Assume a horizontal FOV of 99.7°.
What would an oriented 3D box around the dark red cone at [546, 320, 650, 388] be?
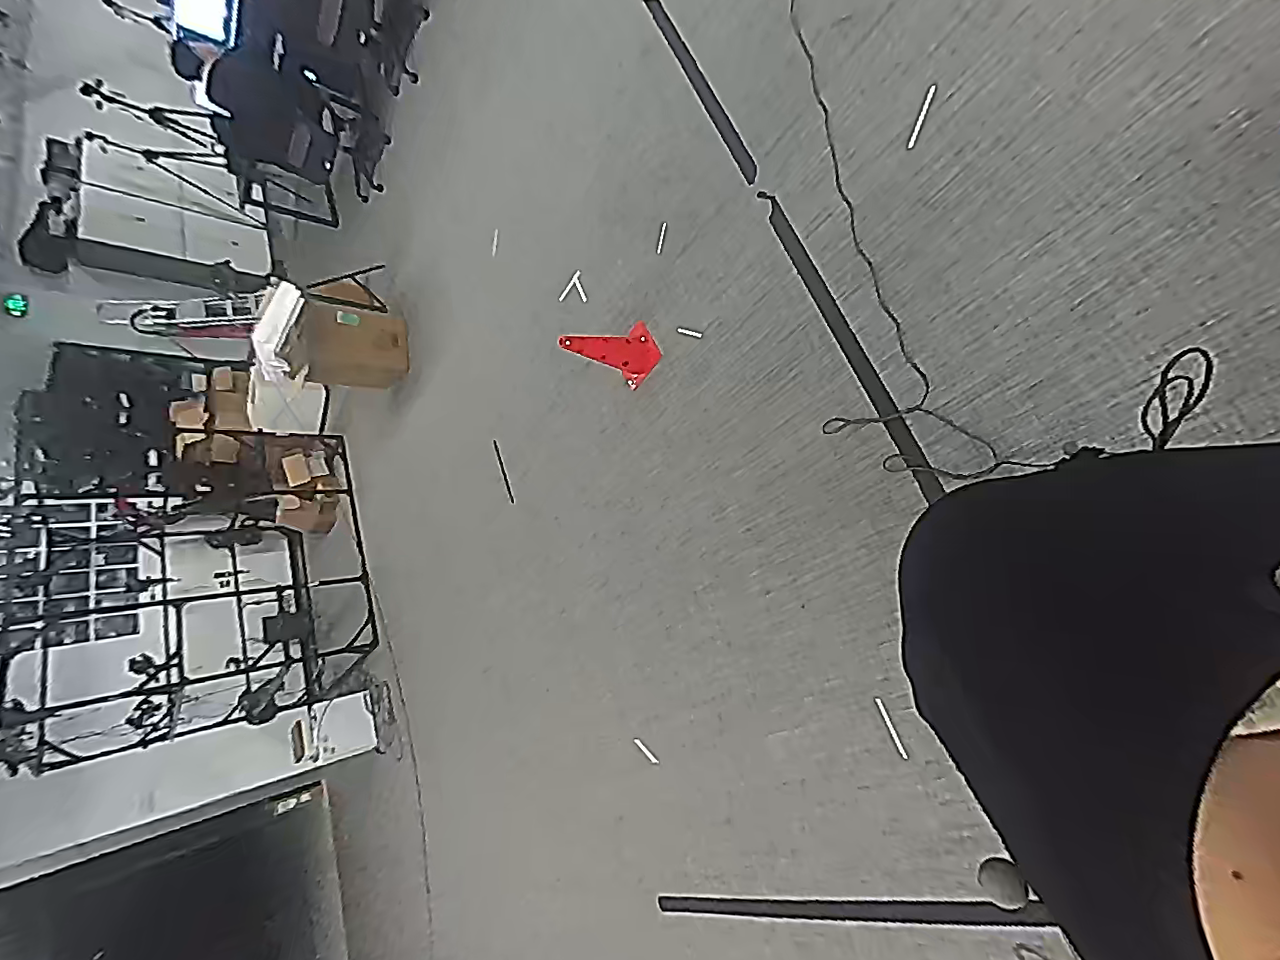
[{"bbox_3d":[-0.164,-0.478,1.953,0.201,0.394,0.202,-47,58,36],"label":"dark red cone"}]
